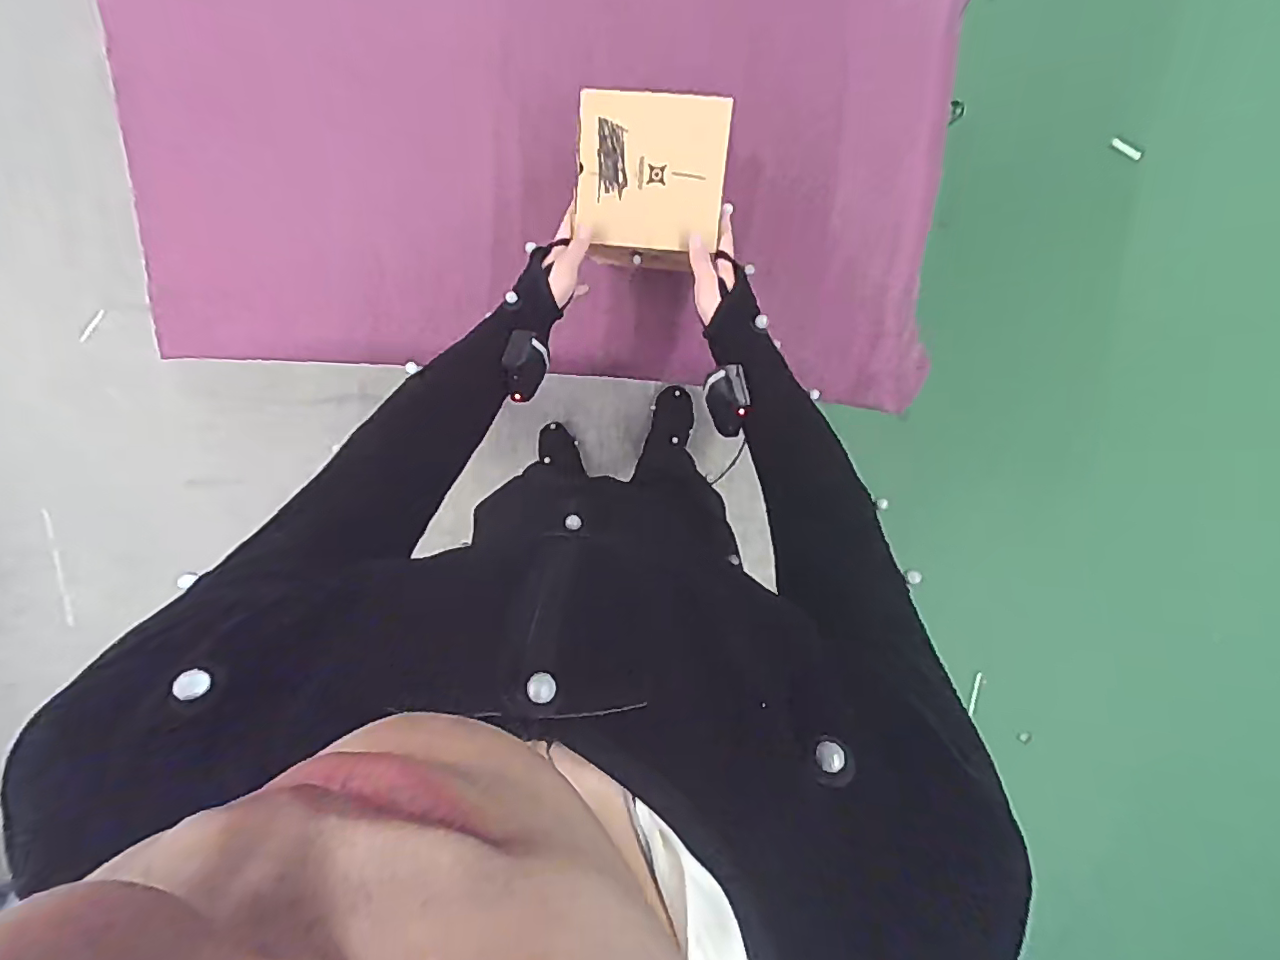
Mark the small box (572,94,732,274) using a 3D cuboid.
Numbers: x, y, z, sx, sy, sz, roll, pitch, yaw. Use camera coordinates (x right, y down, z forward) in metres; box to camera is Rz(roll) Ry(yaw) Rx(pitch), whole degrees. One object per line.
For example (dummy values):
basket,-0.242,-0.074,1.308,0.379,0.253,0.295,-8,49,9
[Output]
small box,0.019,-0.373,0.710,0.179,0.176,0.168,6,104,4
